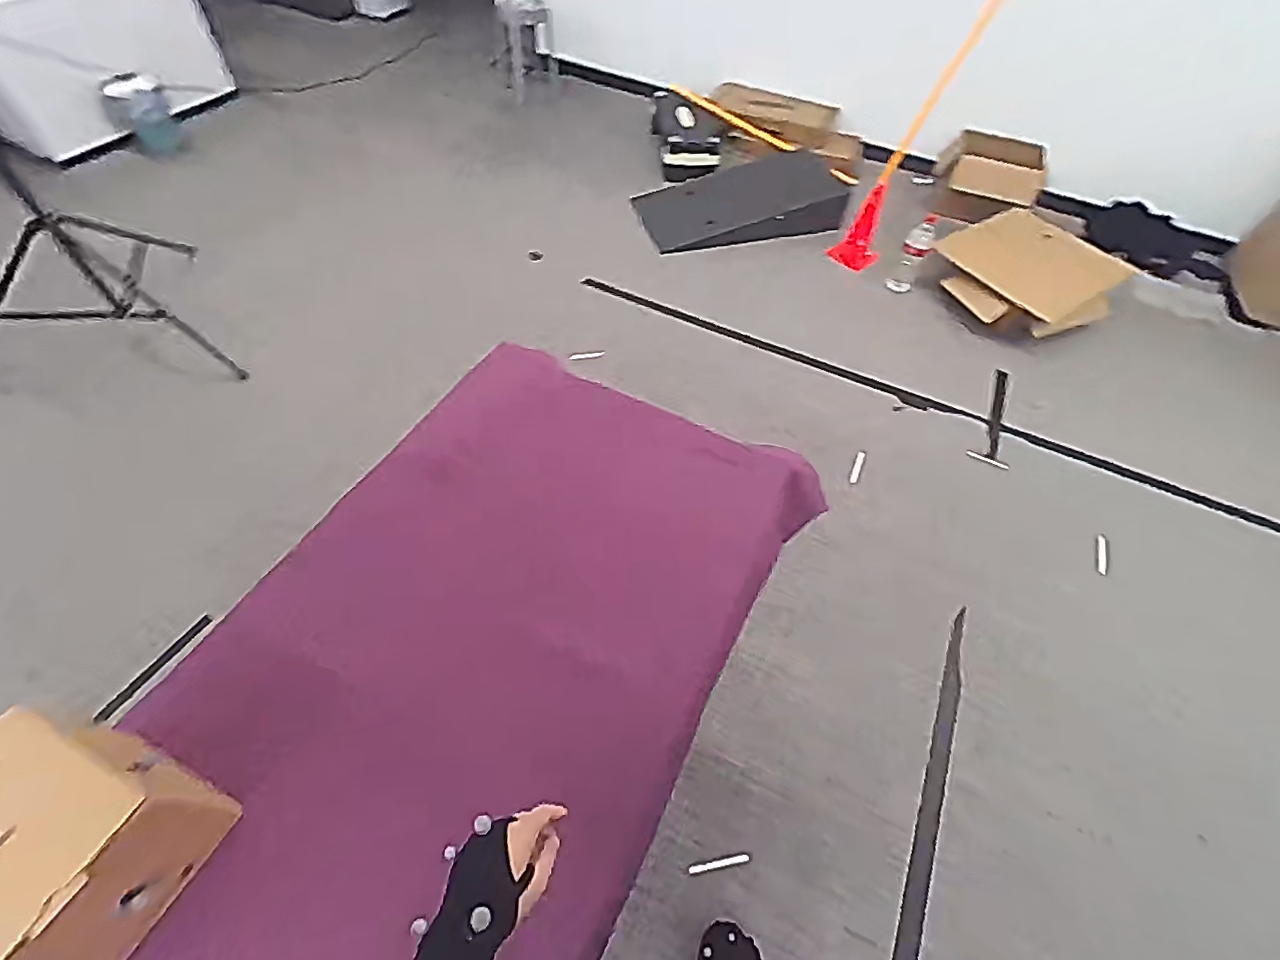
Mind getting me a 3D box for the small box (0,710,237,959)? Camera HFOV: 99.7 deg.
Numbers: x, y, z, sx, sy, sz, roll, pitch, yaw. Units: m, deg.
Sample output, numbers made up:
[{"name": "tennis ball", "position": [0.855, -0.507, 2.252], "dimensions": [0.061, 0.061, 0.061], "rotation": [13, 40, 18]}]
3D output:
[{"name": "small box", "position": [-0.548, 0.351, 0.517], "dimensions": [0.179, 0.176, 0.168], "rotation": [25, 56, 10]}]
